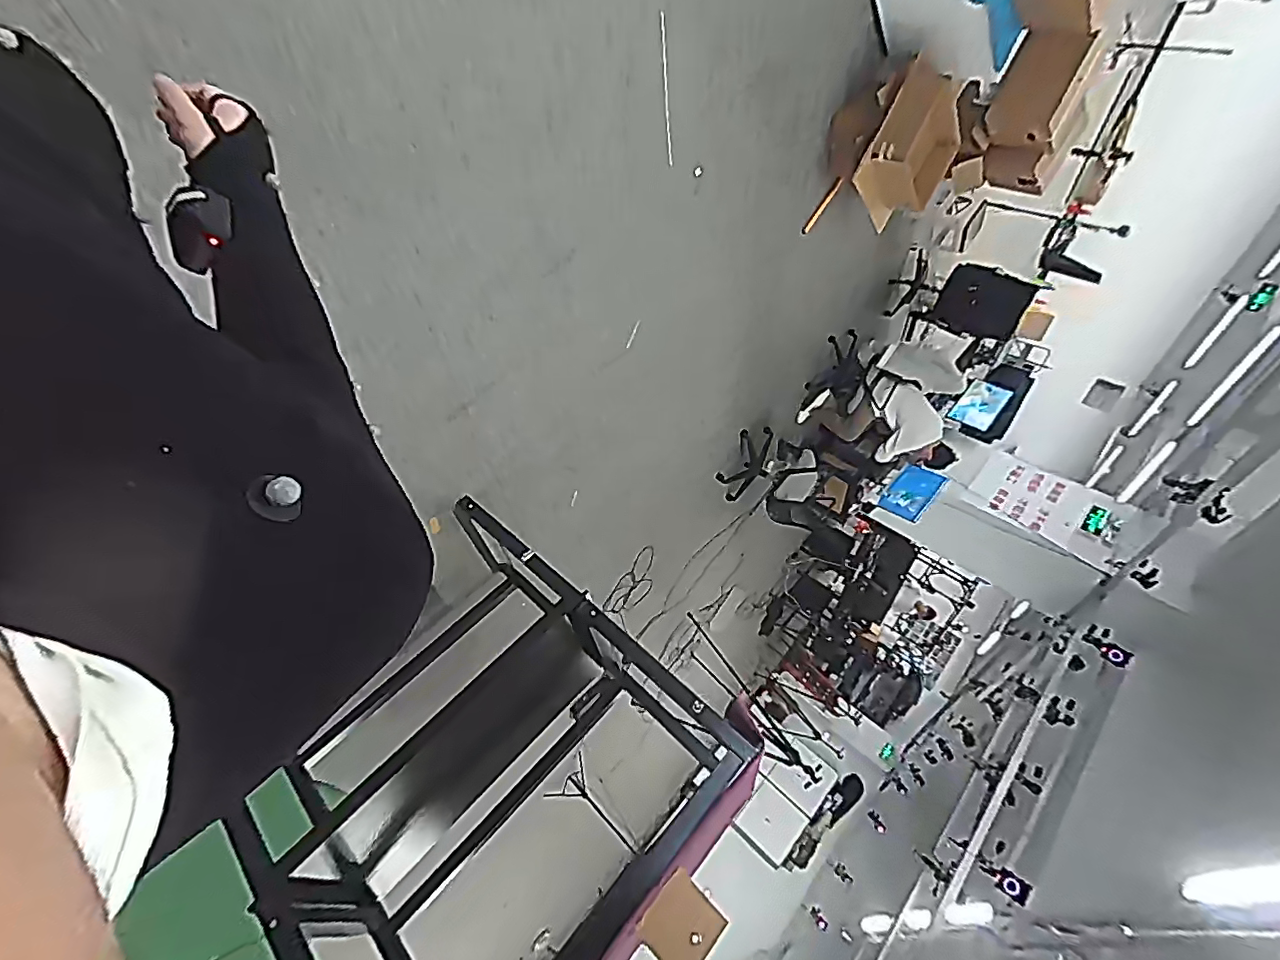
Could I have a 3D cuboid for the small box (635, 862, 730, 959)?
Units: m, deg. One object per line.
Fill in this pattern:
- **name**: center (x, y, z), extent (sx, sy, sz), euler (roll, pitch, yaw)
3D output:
- **small box**: center (0.106, 1.120, 1.376), extent (0.179, 0.176, 0.168), euler (-39, 147, -27)
